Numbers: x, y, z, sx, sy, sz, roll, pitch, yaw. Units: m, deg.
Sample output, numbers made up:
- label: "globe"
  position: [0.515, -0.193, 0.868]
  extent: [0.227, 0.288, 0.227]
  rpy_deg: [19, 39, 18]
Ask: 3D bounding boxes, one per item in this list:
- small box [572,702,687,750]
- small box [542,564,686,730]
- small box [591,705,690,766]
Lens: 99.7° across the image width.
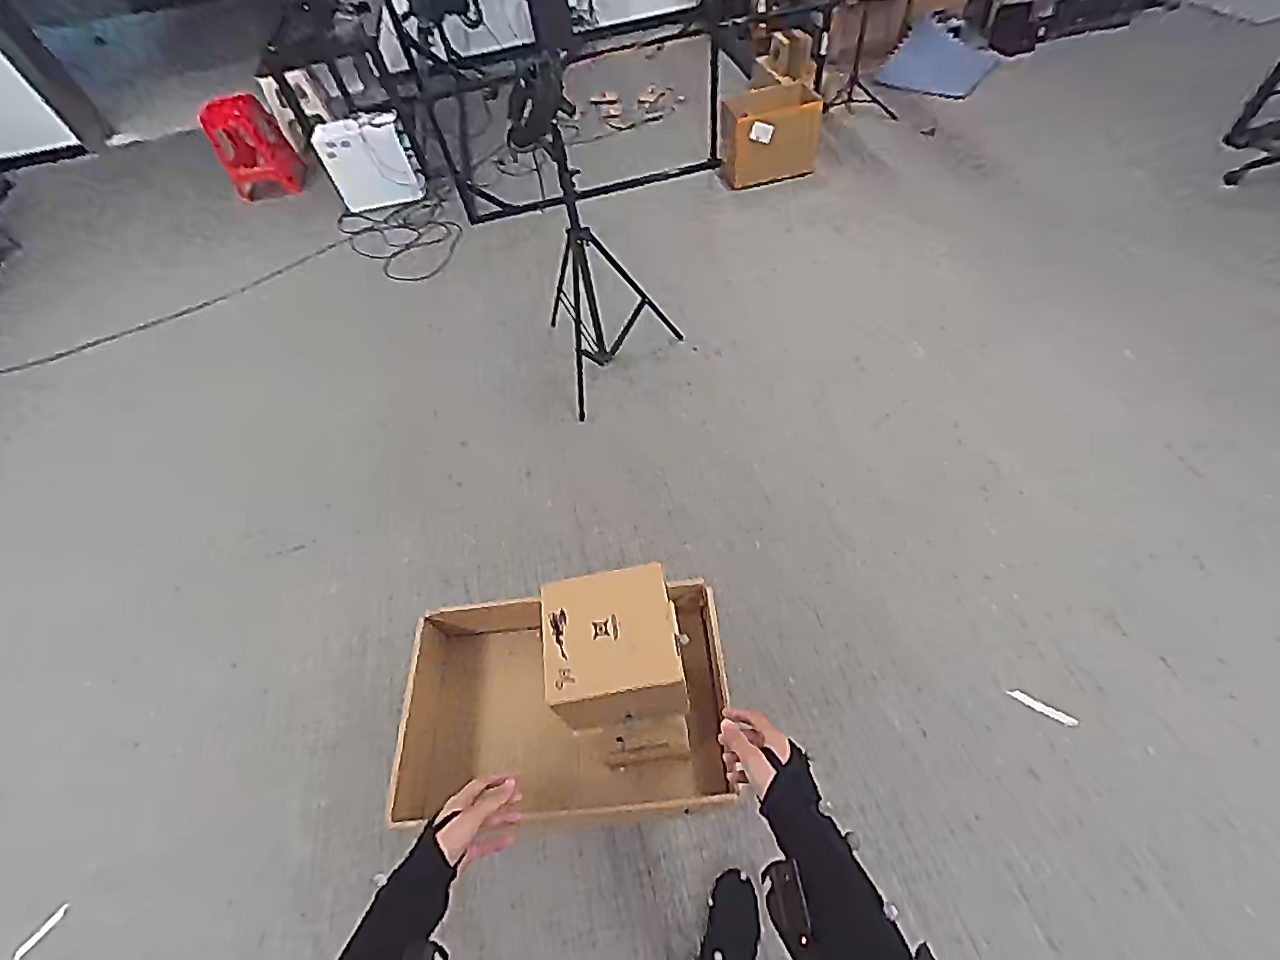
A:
- label: "small box"
  position: [-0.017, 0.336, 0.893]
  extent: [0.168, 0.176, 0.179]
  rpy_deg: [-8, 54, 2]
- label: "small box"
  position: [-0.033, 0.239, 0.762]
  extent: [0.179, 0.176, 0.168]
  rpy_deg: [-10, 53, 0]
- label: "small box"
  position: [0.000, 0.431, 1.024]
  extent: [0.168, 0.176, 0.179]
  rpy_deg: [-9, 54, 1]
